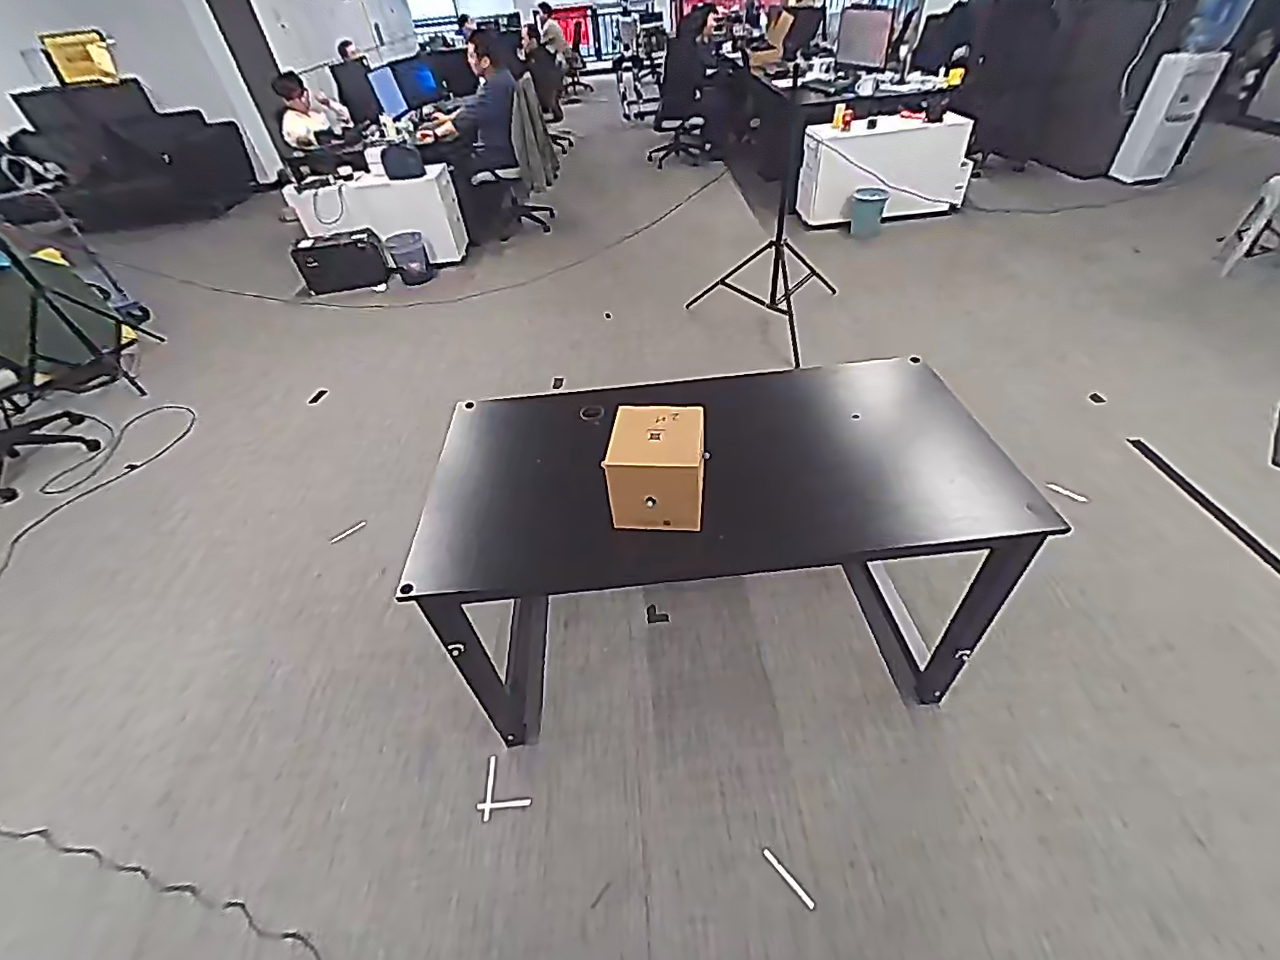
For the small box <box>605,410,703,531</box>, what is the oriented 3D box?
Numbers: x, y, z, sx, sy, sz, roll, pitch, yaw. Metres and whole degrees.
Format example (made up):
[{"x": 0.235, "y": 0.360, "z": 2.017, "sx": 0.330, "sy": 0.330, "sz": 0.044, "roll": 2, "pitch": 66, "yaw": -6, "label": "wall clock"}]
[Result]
[{"x": 0.036, "y": -0.018, "z": 1.045, "sx": 0.168, "sy": 0.176, "sz": 0.179, "roll": 2, "pitch": 43, "yaw": 8, "label": "small box"}]
